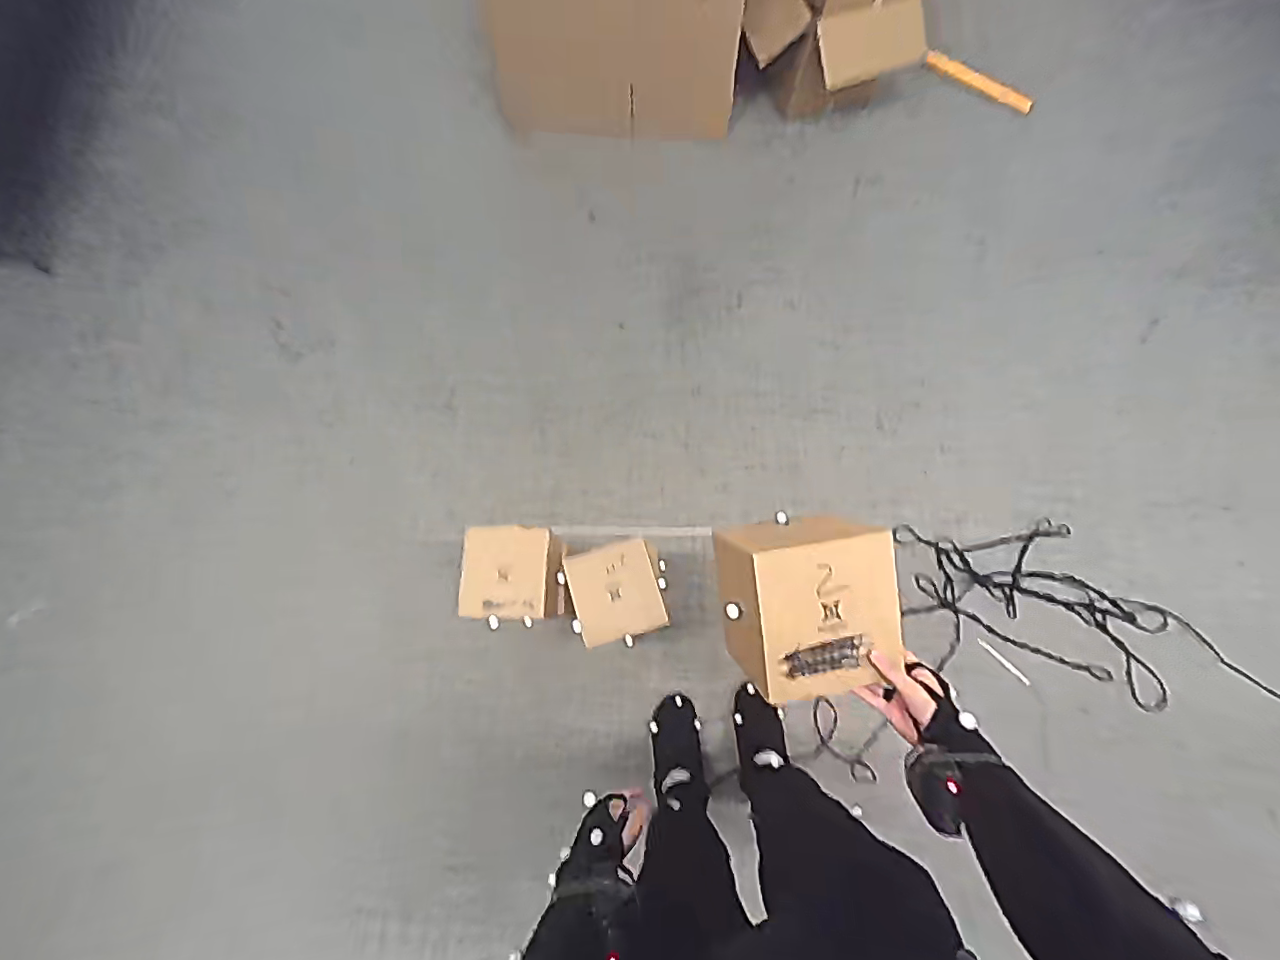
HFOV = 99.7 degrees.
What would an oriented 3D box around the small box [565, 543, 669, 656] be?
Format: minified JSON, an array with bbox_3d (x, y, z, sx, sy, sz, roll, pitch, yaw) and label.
[{"bbox_3d":[-0.042,0.244,1.101,0.168,0.176,0.179,-17,74,-3],"label":"small box"}]

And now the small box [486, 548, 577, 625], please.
[{"bbox_3d":[-0.245,0.254,1.272,0.179,0.176,0.168,0,74,2],"label":"small box"}]
